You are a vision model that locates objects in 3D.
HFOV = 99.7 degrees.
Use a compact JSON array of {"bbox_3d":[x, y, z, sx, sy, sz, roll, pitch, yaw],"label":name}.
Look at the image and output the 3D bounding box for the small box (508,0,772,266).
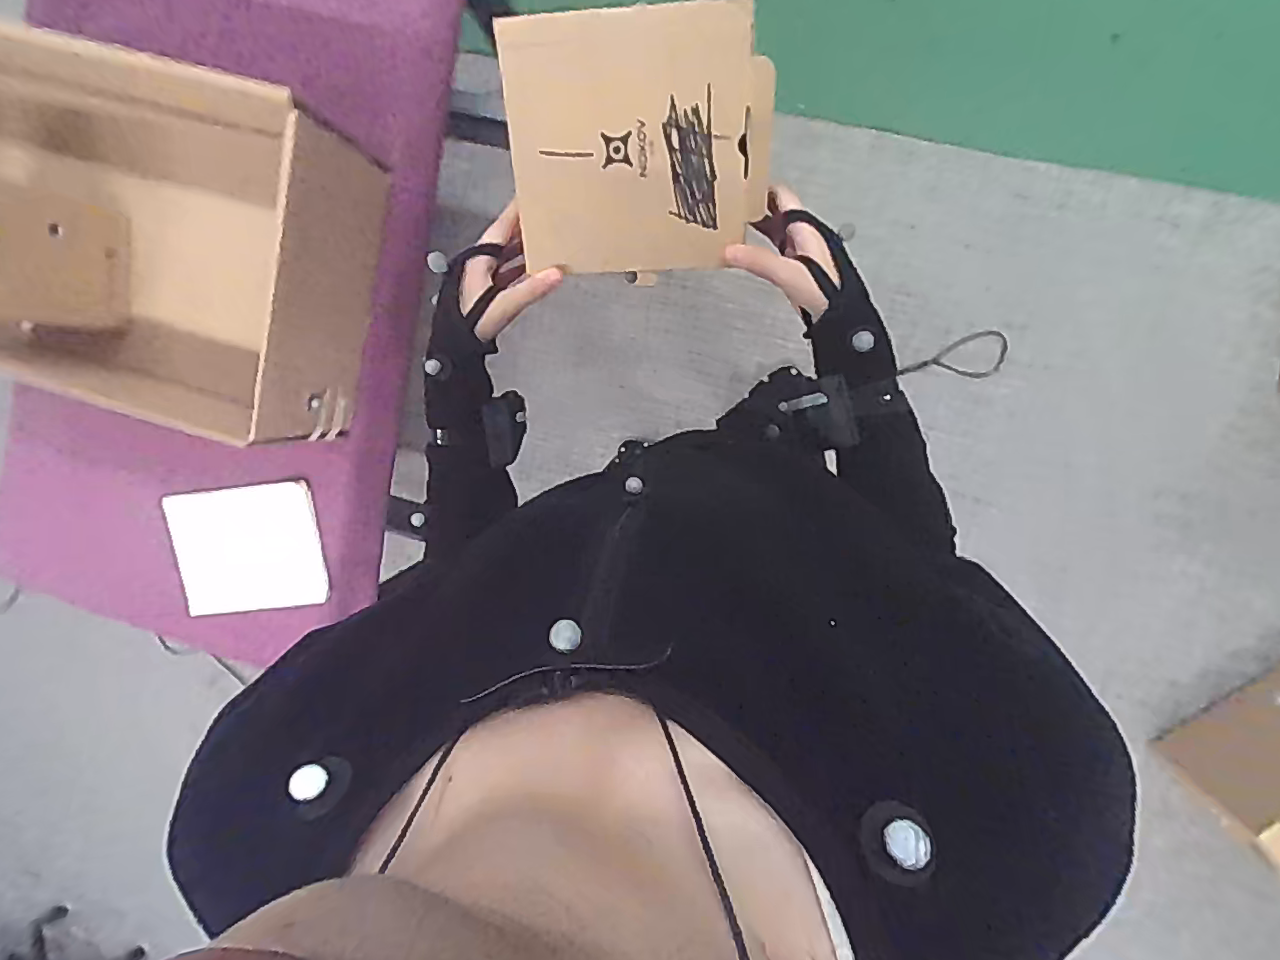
[{"bbox_3d":[0.004,-0.277,0.457,0.179,0.176,0.168,0,115,4],"label":"small box"}]
